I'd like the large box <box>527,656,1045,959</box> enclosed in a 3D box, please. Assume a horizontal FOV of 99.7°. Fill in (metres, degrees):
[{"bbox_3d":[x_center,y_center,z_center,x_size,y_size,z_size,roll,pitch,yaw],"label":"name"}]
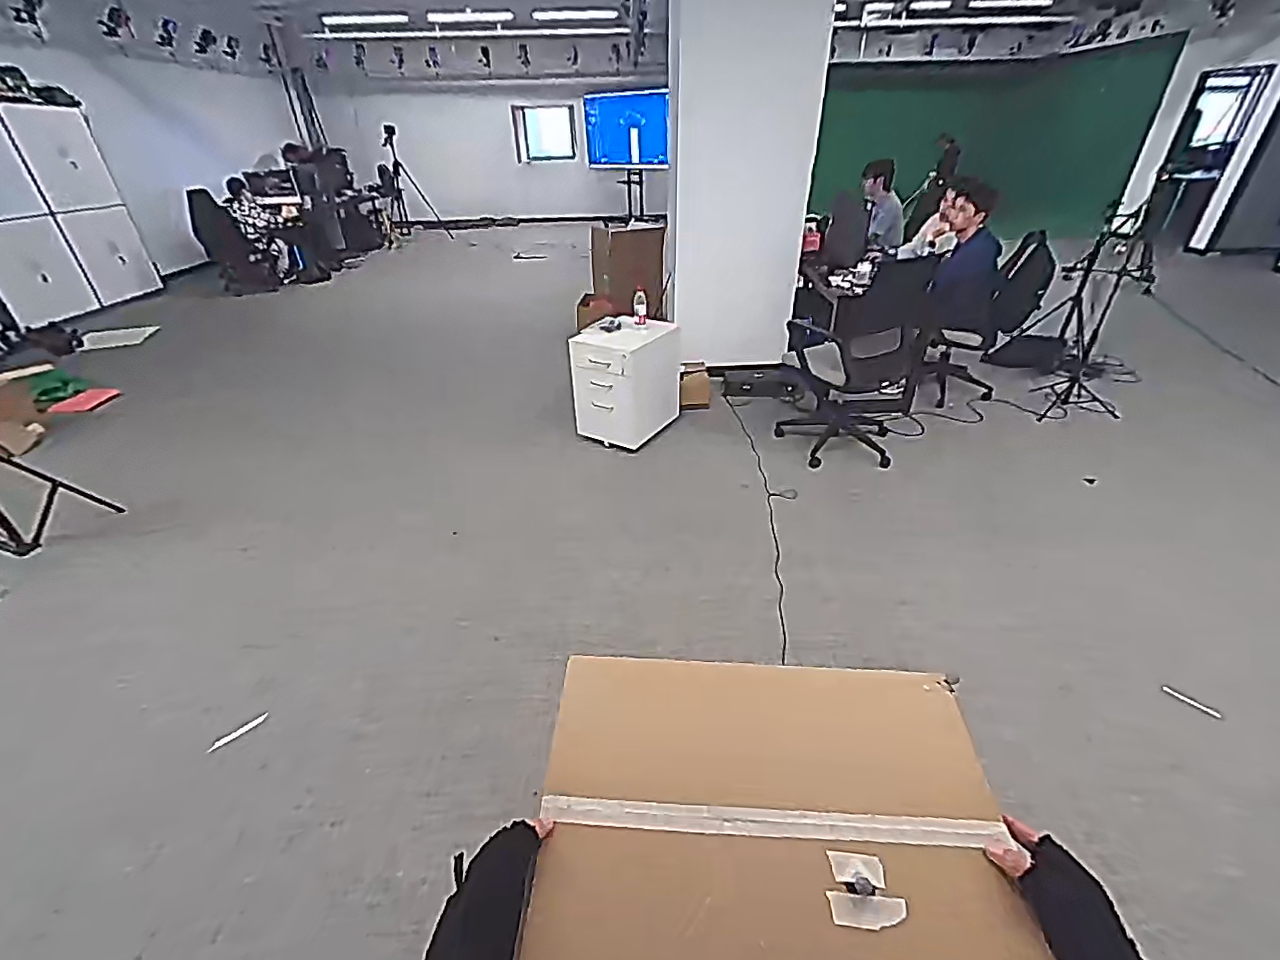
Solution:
[{"bbox_3d":[0.117,0.418,0.585,0.408,0.320,0.320,2,40,4],"label":"large box"}]
